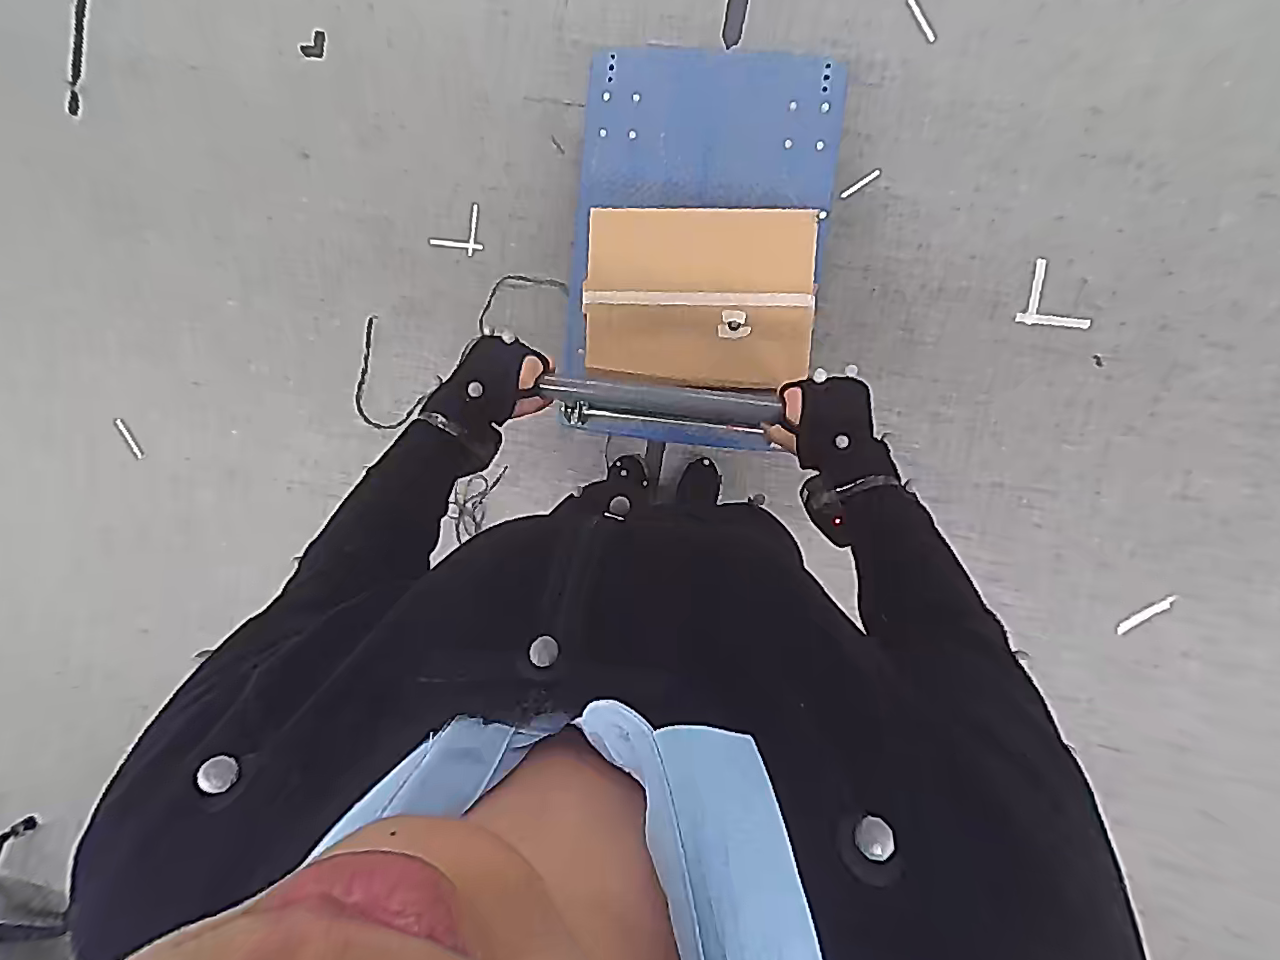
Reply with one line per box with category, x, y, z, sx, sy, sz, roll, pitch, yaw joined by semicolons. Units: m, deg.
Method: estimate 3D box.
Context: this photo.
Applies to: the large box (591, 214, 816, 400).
large box;0.119;-0.334;1.126;0.408;0.320;0.320;3;96;4
